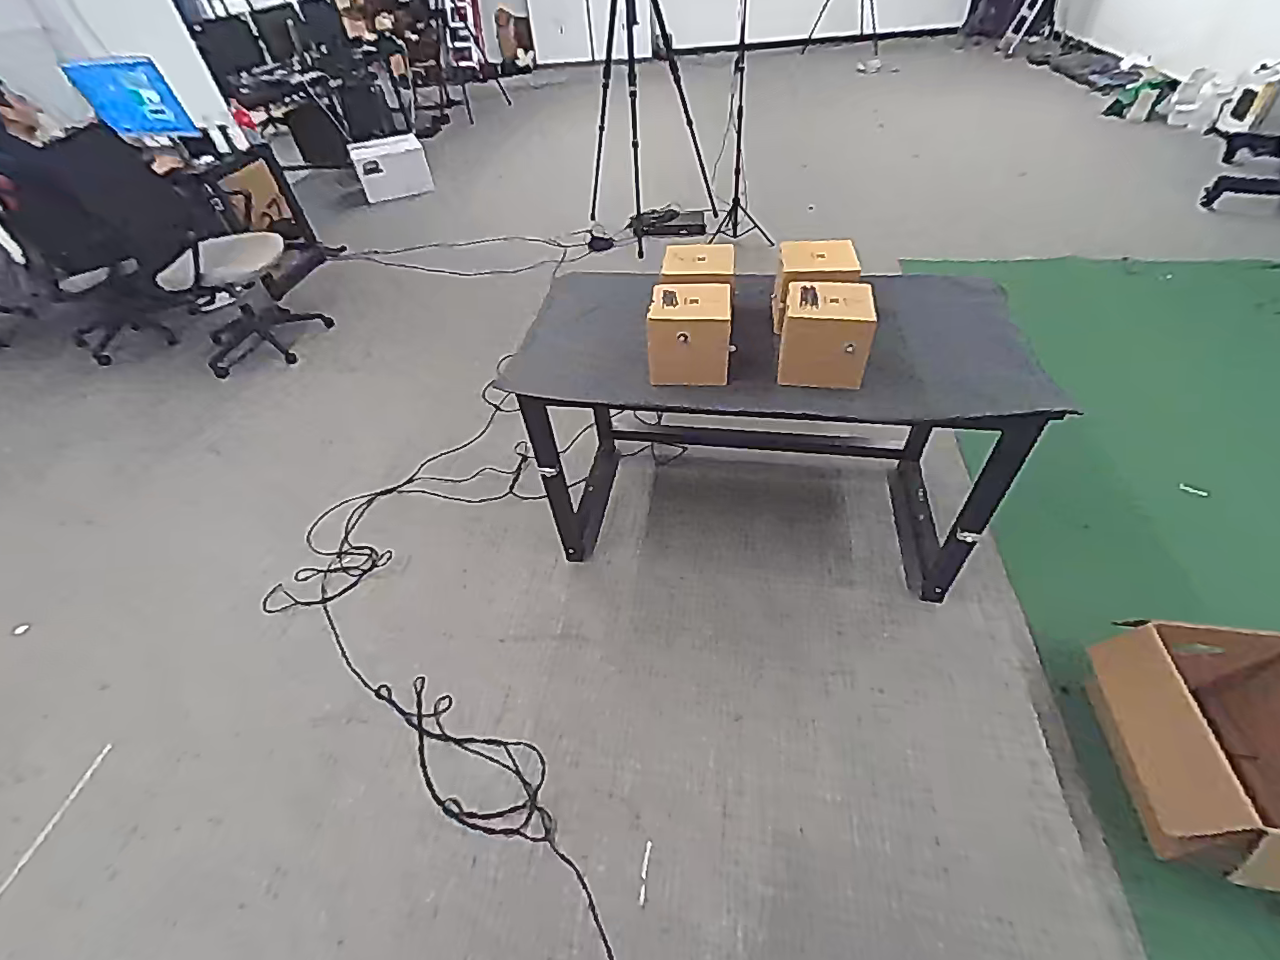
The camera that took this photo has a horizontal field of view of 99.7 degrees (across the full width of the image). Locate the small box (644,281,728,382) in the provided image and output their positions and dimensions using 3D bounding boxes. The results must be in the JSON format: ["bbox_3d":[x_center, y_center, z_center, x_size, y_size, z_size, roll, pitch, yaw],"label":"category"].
[{"bbox_3d":[0.109,-0.338,1.233,0.179,0.176,0.168,2,45,7],"label":"small box"}]
